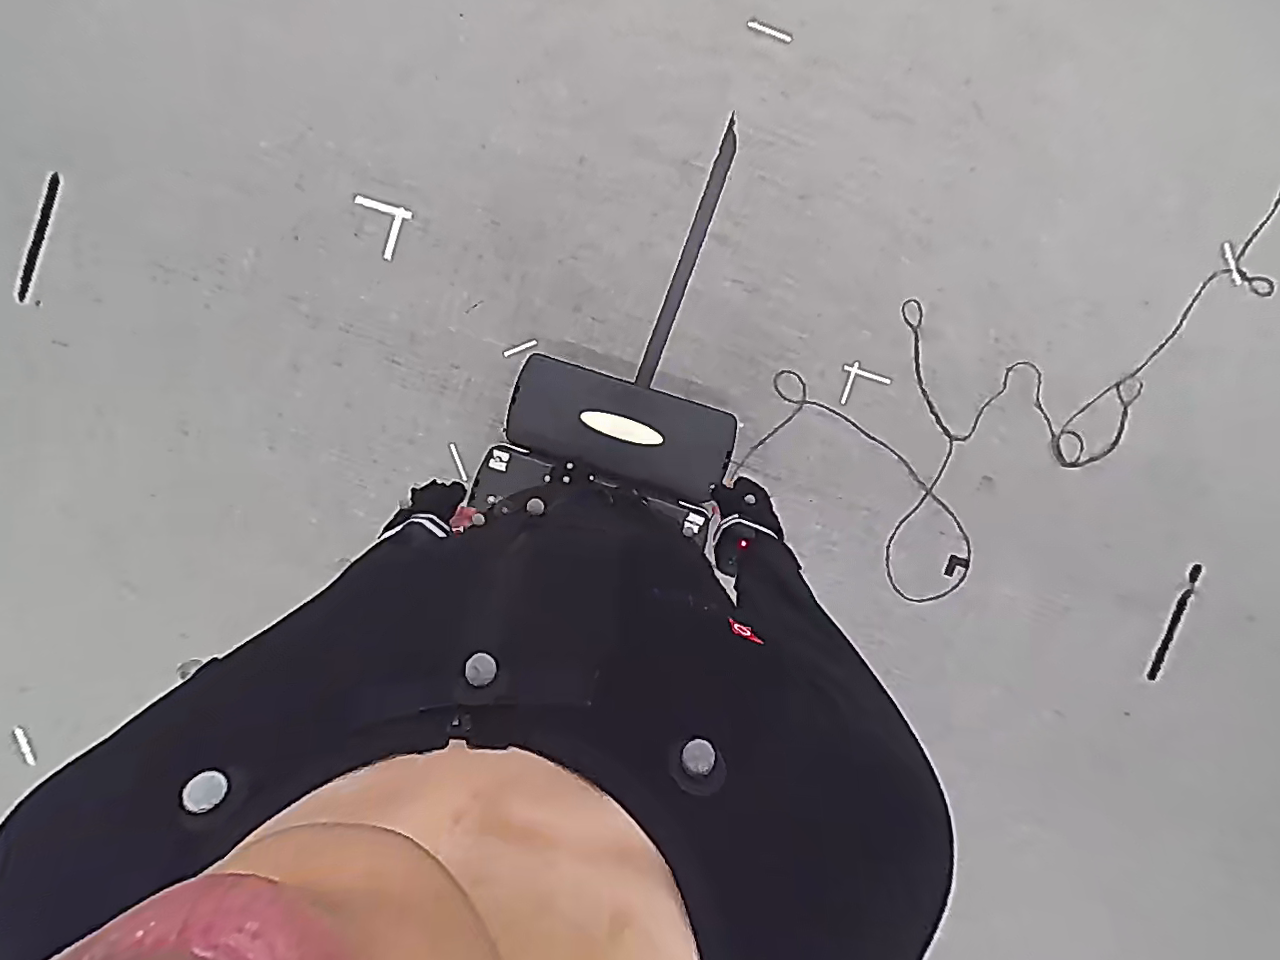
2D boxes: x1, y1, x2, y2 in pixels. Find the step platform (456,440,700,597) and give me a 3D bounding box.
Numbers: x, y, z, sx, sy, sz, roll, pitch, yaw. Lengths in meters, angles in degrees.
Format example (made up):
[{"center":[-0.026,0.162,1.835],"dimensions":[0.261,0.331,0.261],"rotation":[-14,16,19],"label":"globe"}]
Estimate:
[{"center":[-0.173,0.109,1.579],"dimensions":[0.684,0.204,0.286],"rotation":[17,91,-1],"label":"step platform"}]
